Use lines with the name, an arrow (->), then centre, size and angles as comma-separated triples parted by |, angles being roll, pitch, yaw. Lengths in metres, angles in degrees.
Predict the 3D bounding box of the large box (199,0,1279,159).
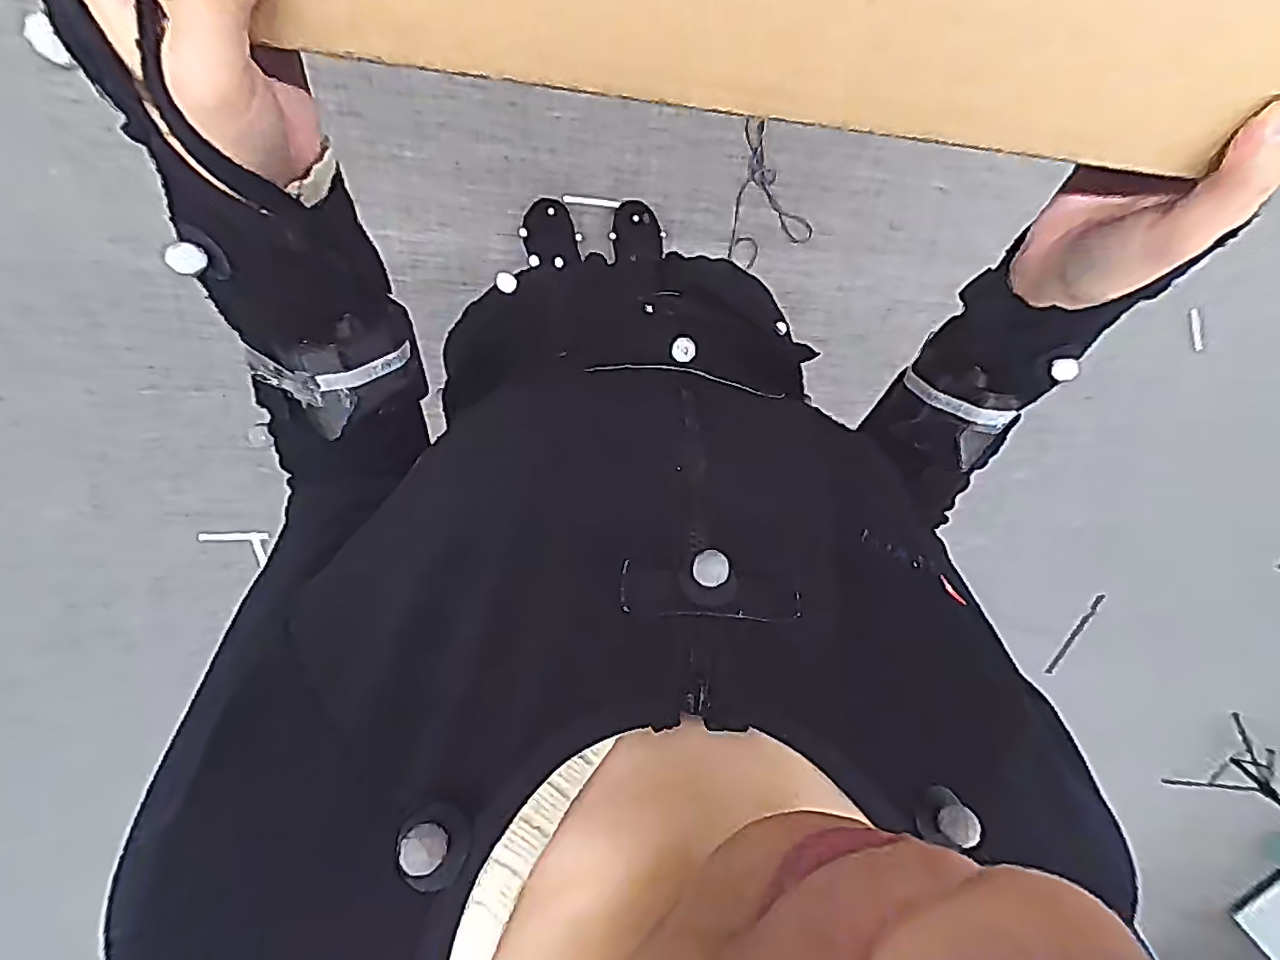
large box -> 0.066, -0.346, 0.170 | 0.408, 0.320, 0.320 | 2, 143, -8
